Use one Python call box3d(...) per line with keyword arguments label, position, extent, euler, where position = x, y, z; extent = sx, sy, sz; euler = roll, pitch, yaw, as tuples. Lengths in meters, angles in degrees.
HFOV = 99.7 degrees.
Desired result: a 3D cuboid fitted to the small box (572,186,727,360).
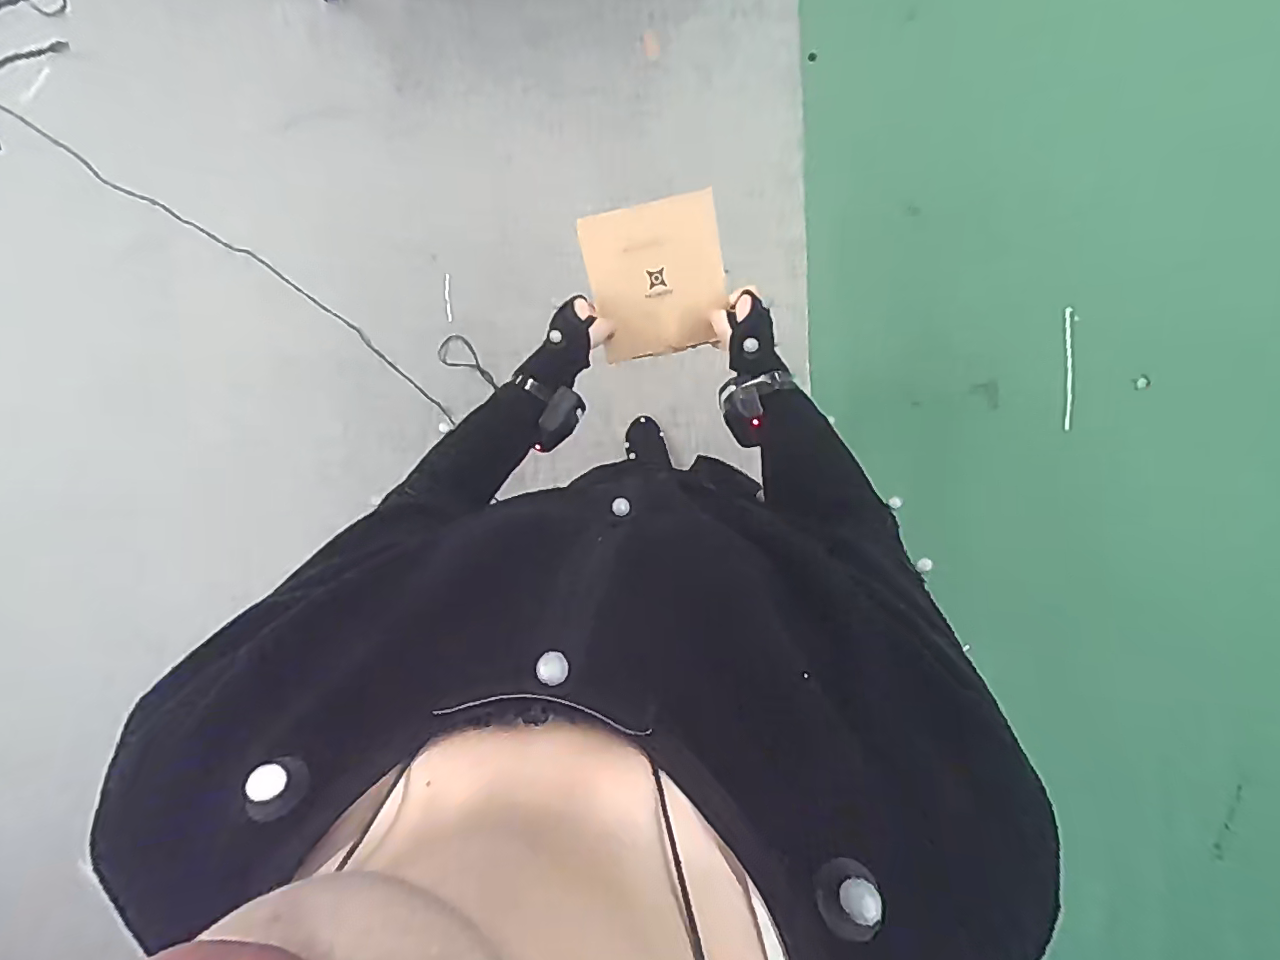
box3d(label="small box", position=(0.016, -0.277, 0.722), extent=(0.168, 0.176, 0.179), euler=(-10, 114, 4))
